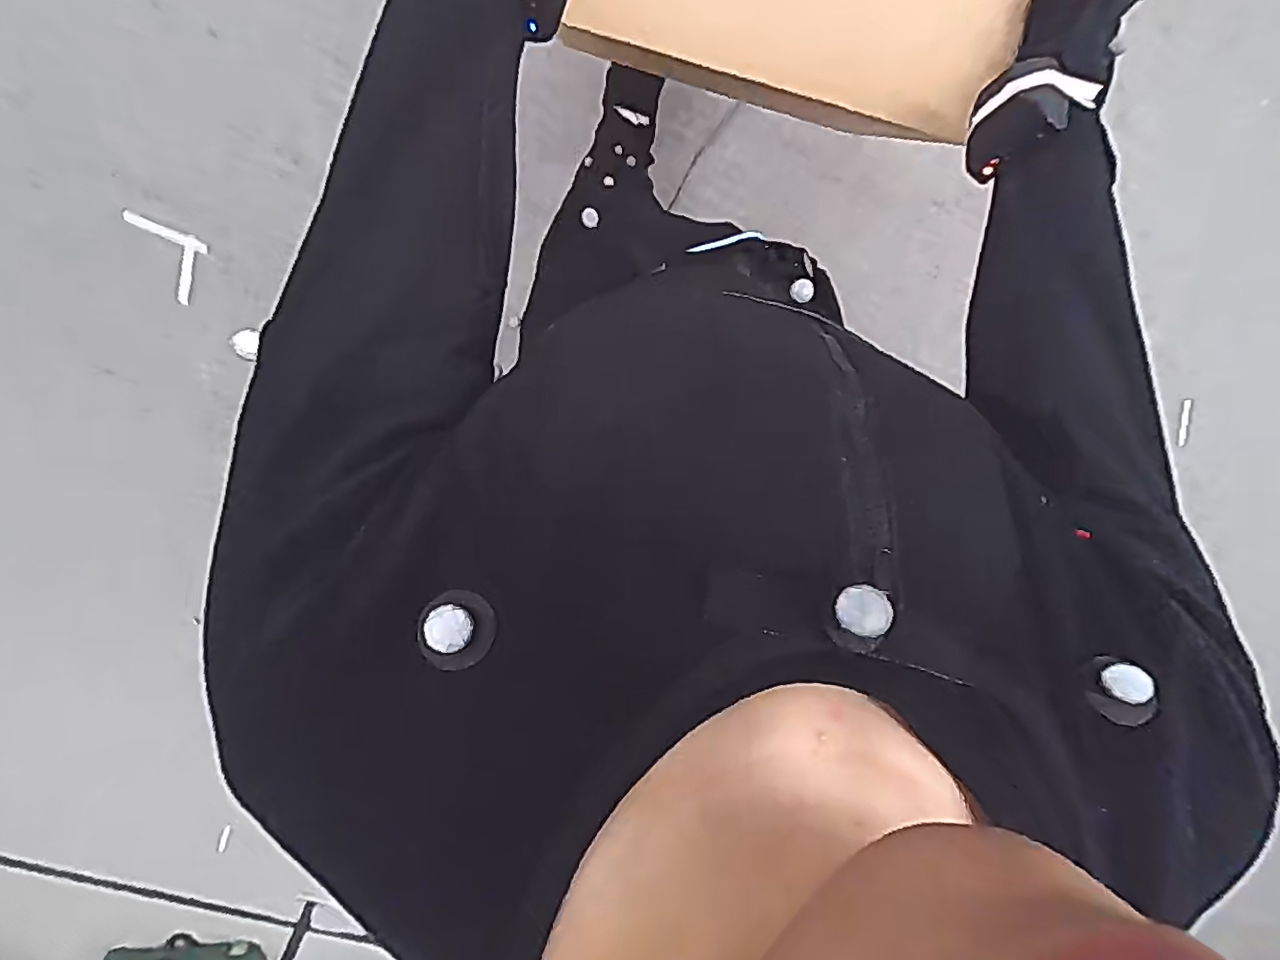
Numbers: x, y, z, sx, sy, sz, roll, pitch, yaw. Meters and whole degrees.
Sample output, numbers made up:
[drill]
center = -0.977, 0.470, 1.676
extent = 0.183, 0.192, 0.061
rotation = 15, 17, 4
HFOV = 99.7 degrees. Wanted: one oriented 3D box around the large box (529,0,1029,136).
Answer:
[large box]
center = 0.130, -0.550, 0.502
extent = 0.408, 0.320, 0.320
rotation = 11, 125, -8
